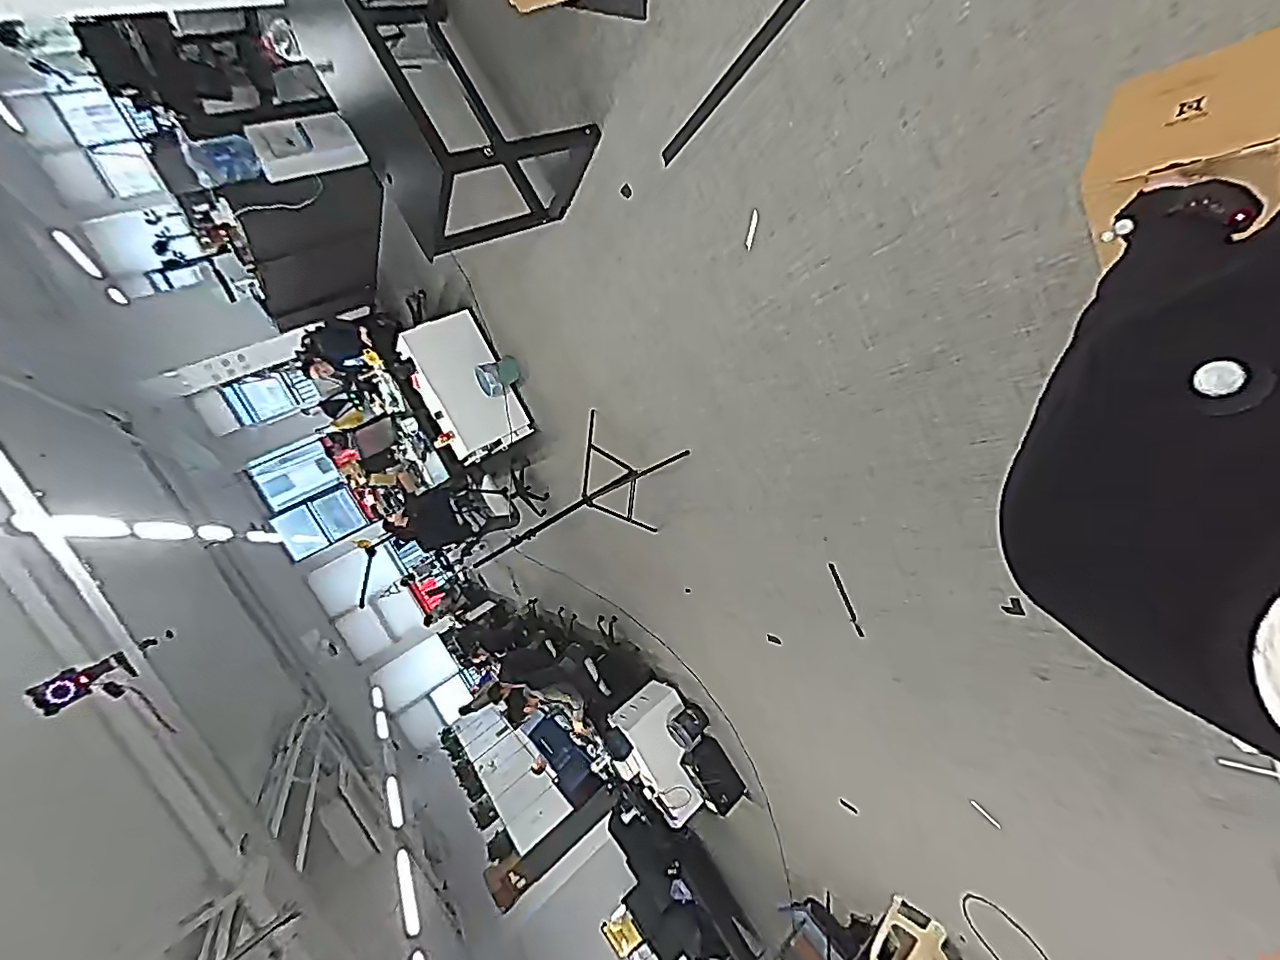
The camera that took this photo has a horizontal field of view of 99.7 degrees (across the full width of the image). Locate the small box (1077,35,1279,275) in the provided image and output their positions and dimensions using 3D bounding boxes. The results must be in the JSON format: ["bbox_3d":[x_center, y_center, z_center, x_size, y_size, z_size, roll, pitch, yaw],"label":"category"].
[{"bbox_3d":[0.673,-0.374,0.659,0.176,0.179,0.168,35,165,-36],"label":"small box"}]
